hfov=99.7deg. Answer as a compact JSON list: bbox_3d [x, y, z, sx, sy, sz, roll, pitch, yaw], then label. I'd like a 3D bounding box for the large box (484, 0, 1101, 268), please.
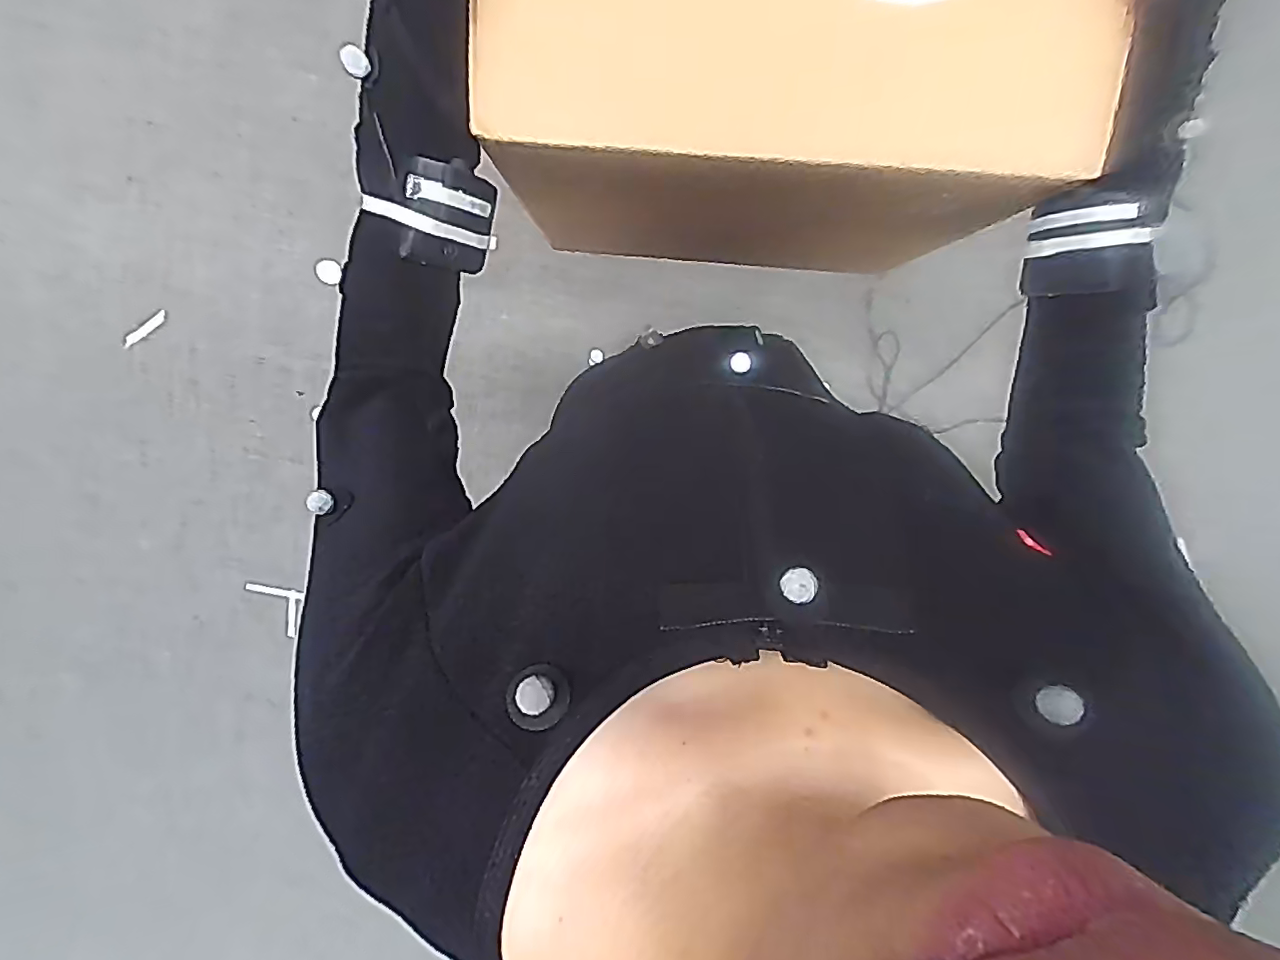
[{"bbox_3d":[0.098,-0.390,0.484,0.408,0.320,0.320,3,100,-1],"label":"large box"}]
